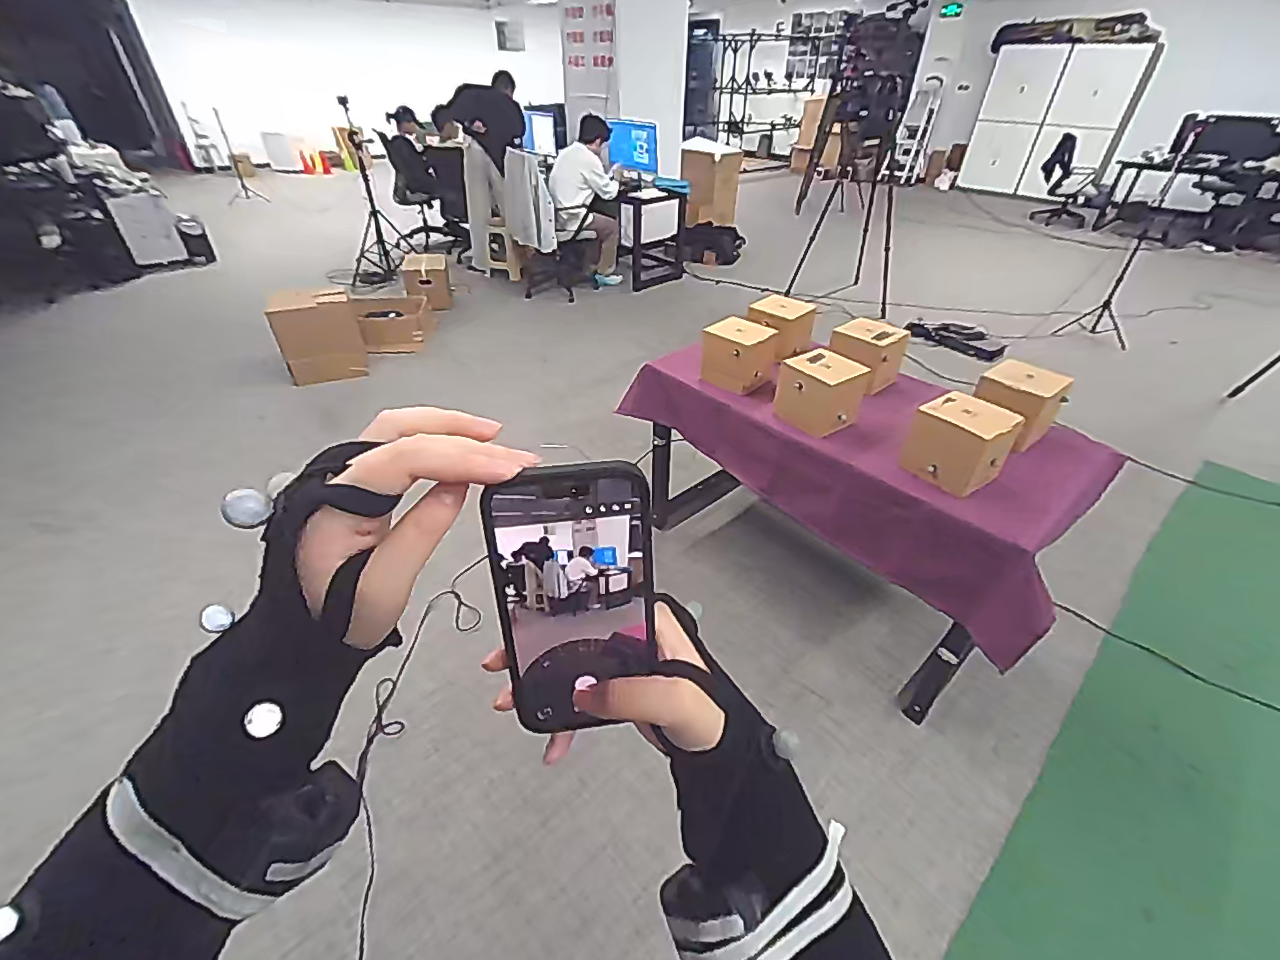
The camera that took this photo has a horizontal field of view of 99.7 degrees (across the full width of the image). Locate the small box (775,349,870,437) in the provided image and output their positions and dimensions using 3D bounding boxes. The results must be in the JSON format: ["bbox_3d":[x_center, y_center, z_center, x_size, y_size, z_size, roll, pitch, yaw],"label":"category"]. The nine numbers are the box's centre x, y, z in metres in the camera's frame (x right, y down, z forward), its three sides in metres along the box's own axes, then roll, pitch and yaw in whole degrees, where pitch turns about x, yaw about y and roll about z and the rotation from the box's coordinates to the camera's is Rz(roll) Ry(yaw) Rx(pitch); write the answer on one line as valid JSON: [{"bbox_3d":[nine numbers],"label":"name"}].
[{"bbox_3d":[0.505,-0.245,1.523,0.168,0.176,0.179,-23,44,-28],"label":"small box"}]

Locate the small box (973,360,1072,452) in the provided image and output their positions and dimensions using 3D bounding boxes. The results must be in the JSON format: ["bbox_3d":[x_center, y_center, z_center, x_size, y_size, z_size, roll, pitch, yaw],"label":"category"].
[{"bbox_3d":[1.020,-0.204,1.478,0.179,0.176,0.168,-25,44,-29],"label":"small box"}]

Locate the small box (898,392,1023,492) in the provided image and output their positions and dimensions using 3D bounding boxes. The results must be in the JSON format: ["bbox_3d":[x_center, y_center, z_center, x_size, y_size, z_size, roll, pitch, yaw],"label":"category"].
[{"bbox_3d":[0.774,-0.088,1.322,0.168,0.176,0.179,-21,43,-27],"label":"small box"}]

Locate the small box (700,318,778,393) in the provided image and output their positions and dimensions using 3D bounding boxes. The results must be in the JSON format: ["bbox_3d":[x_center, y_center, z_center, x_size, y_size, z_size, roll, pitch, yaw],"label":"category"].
[{"bbox_3d":[0.309,-0.395,1.717,0.179,0.176,0.168,31,46,31],"label":"small box"}]
